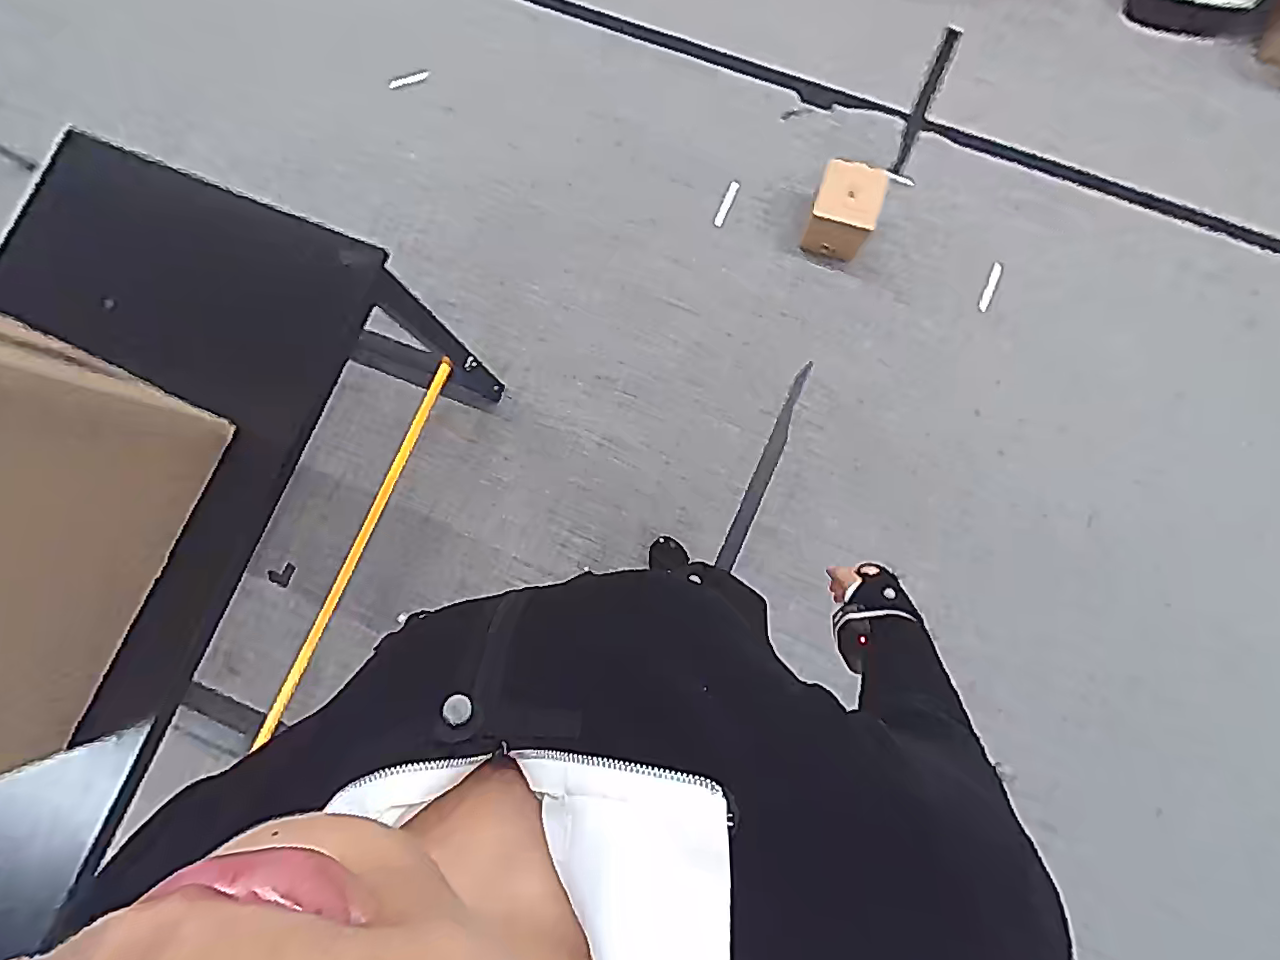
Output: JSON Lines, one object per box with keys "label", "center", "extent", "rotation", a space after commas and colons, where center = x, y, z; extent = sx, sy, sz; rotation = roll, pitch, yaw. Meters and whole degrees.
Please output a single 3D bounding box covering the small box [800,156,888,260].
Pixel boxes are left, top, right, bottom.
{"label": "small box", "center": [0.562, -0.755, 1.514], "extent": [0.168, 0.176, 0.179], "rotation": [16, 85, 5]}
